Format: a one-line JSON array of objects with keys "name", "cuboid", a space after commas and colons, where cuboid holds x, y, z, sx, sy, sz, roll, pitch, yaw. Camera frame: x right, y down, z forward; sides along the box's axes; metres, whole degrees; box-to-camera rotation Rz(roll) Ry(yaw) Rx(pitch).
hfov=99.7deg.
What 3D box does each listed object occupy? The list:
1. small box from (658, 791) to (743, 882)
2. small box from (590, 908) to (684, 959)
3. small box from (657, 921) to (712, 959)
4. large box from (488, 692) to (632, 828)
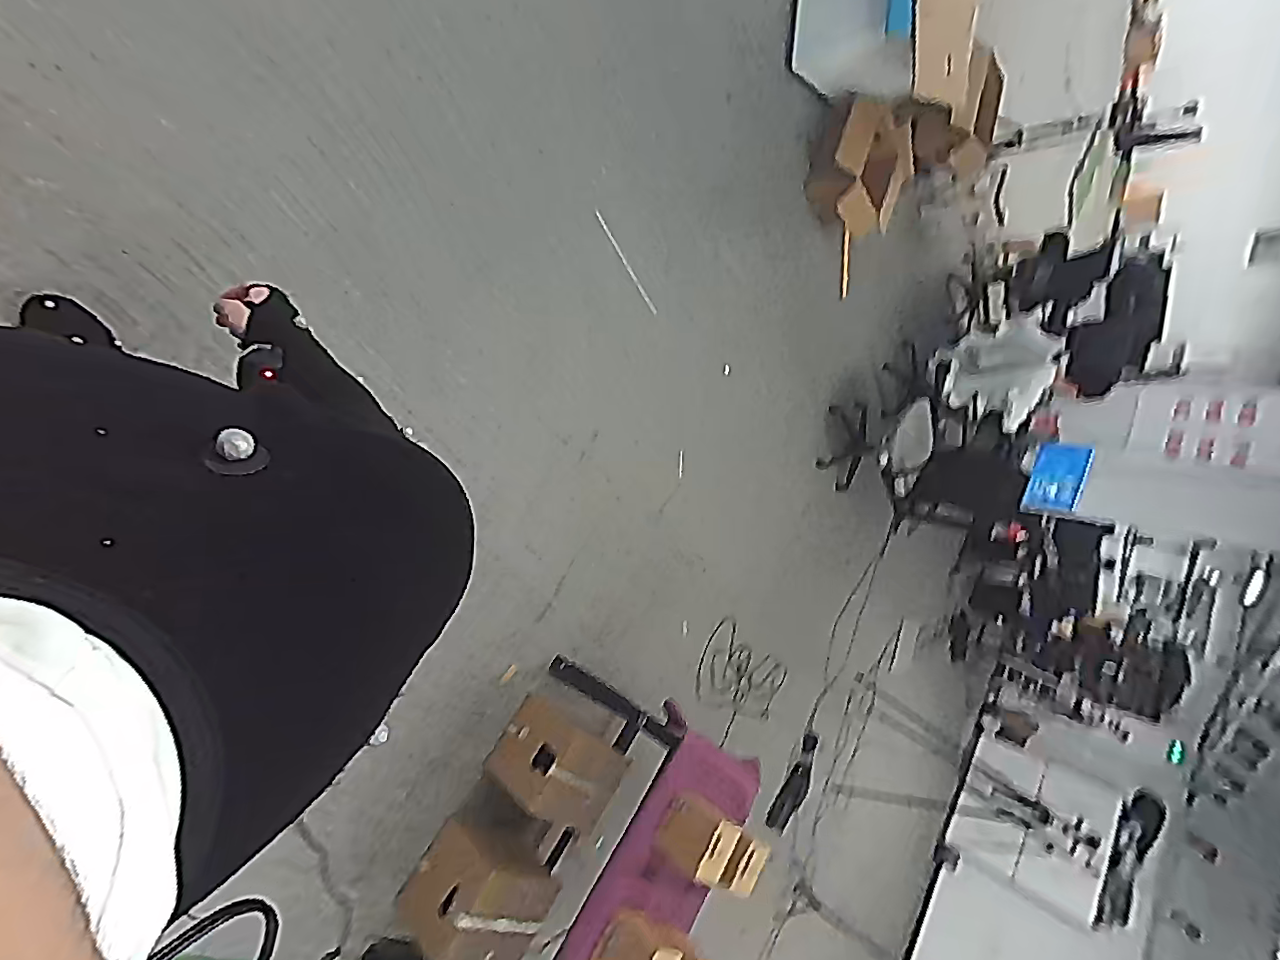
[{"name": "small box", "cuboid": [0.186, 1.101, 1.678, 0.168, 0.176, 0.179, -56, 134, -19]}, {"name": "small box", "cuboid": [-0.010, 1.381, 1.557, 0.168, 0.176, 0.179, -55, 133, -21]}, {"name": "small box", "cuboid": [0.113, 1.560, 1.726, 0.168, 0.176, 0.179, -53, 130, -21]}, {"name": "large box", "cuboid": [-0.311, 1.101, 2.135, 0.320, 0.320, 0.408, -55, 133, -19]}]
